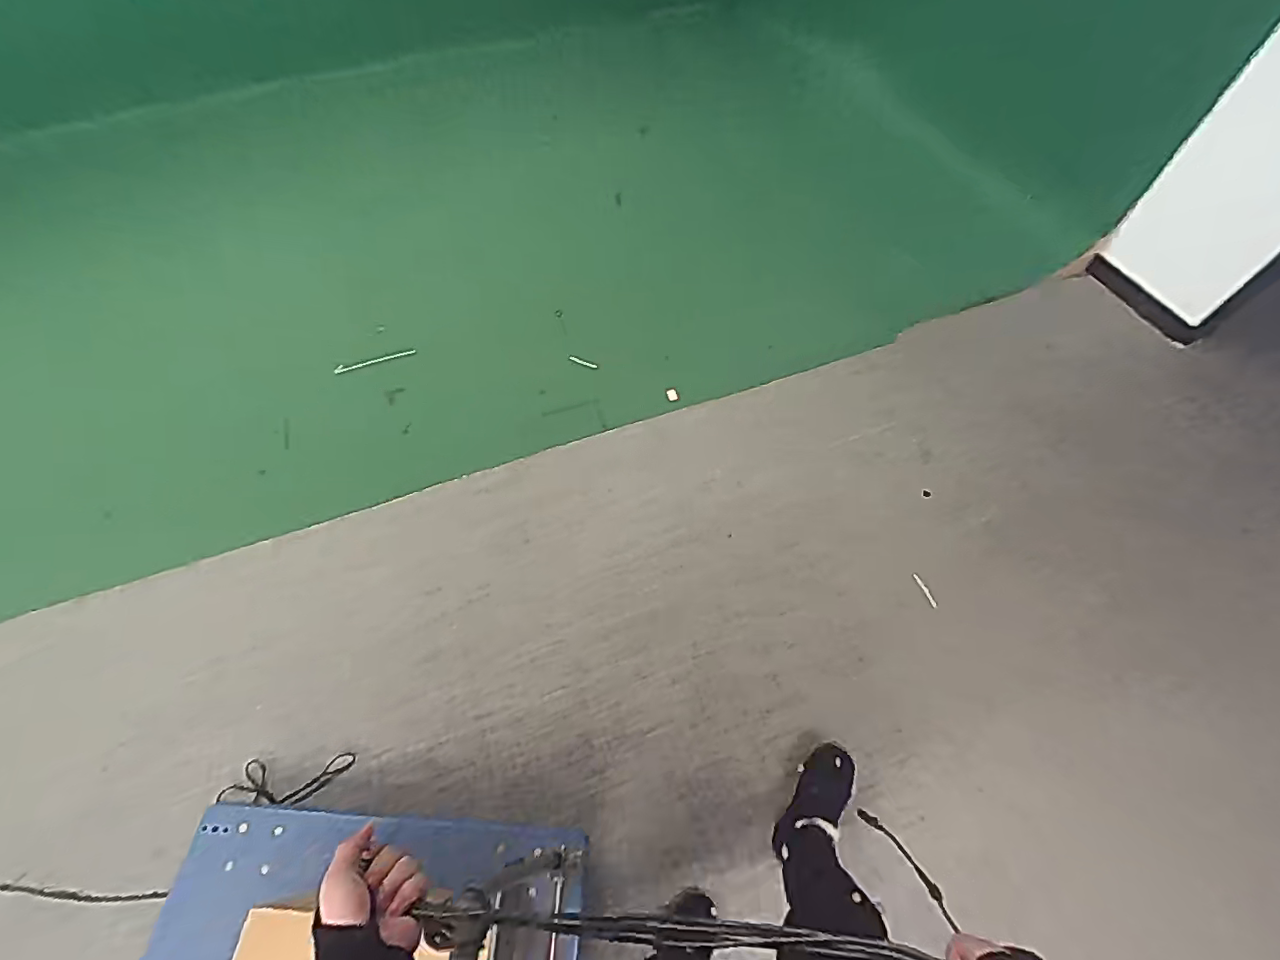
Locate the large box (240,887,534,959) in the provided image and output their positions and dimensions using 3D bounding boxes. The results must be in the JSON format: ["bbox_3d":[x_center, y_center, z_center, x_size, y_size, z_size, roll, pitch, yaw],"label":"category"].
[{"bbox_3d":[-0.422,0.906,0.910,0.408,0.320,0.320,1,59,4],"label":"large box"}]
